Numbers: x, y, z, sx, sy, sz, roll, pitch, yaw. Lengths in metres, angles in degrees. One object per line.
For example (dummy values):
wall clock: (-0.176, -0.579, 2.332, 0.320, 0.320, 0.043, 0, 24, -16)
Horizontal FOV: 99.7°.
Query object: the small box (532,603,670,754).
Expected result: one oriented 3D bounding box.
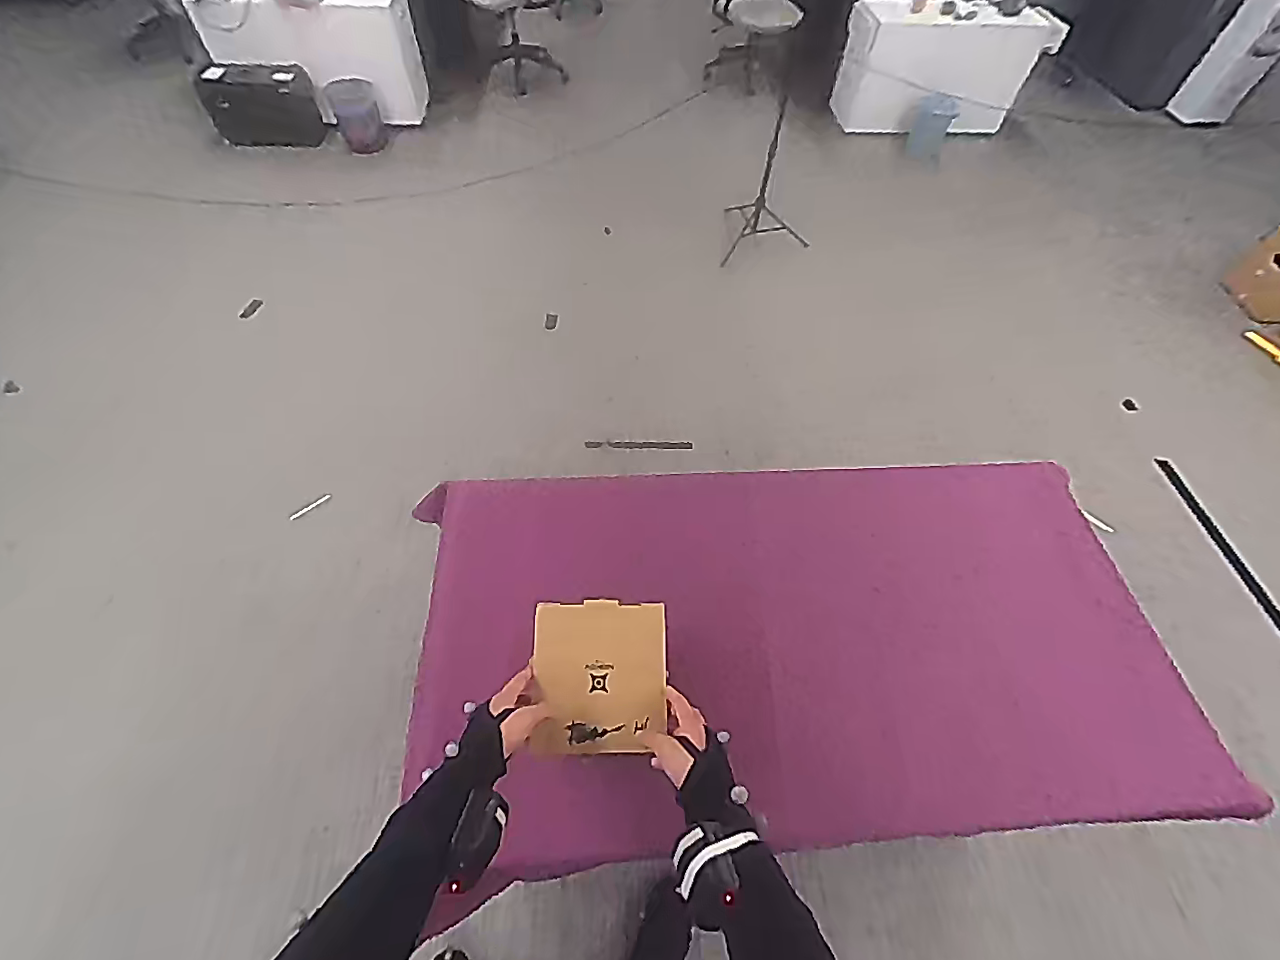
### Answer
small box: (-0.051, 0.269, 0.740, 0.168, 0.176, 0.179, 1, 70, -4)
